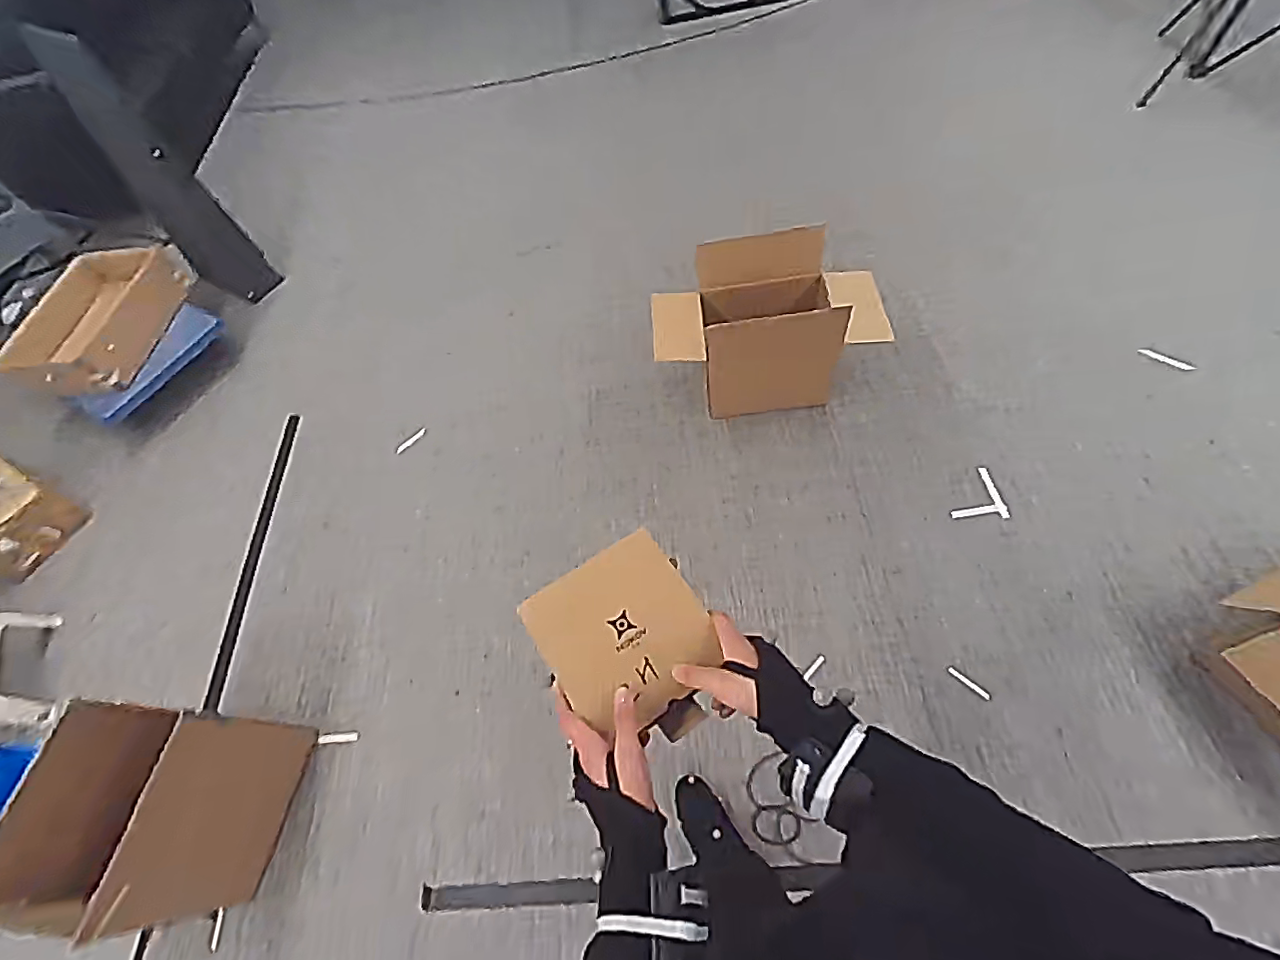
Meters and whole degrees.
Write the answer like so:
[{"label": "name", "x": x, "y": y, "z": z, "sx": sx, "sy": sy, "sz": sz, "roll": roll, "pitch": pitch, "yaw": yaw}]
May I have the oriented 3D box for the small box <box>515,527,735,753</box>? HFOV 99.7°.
[{"label": "small box", "x": -0.021, "y": 0.189, "z": 0.622, "sx": 0.168, "sy": 0.176, "sz": 0.179, "roll": -31, "pitch": 69, "yaw": -16}]
